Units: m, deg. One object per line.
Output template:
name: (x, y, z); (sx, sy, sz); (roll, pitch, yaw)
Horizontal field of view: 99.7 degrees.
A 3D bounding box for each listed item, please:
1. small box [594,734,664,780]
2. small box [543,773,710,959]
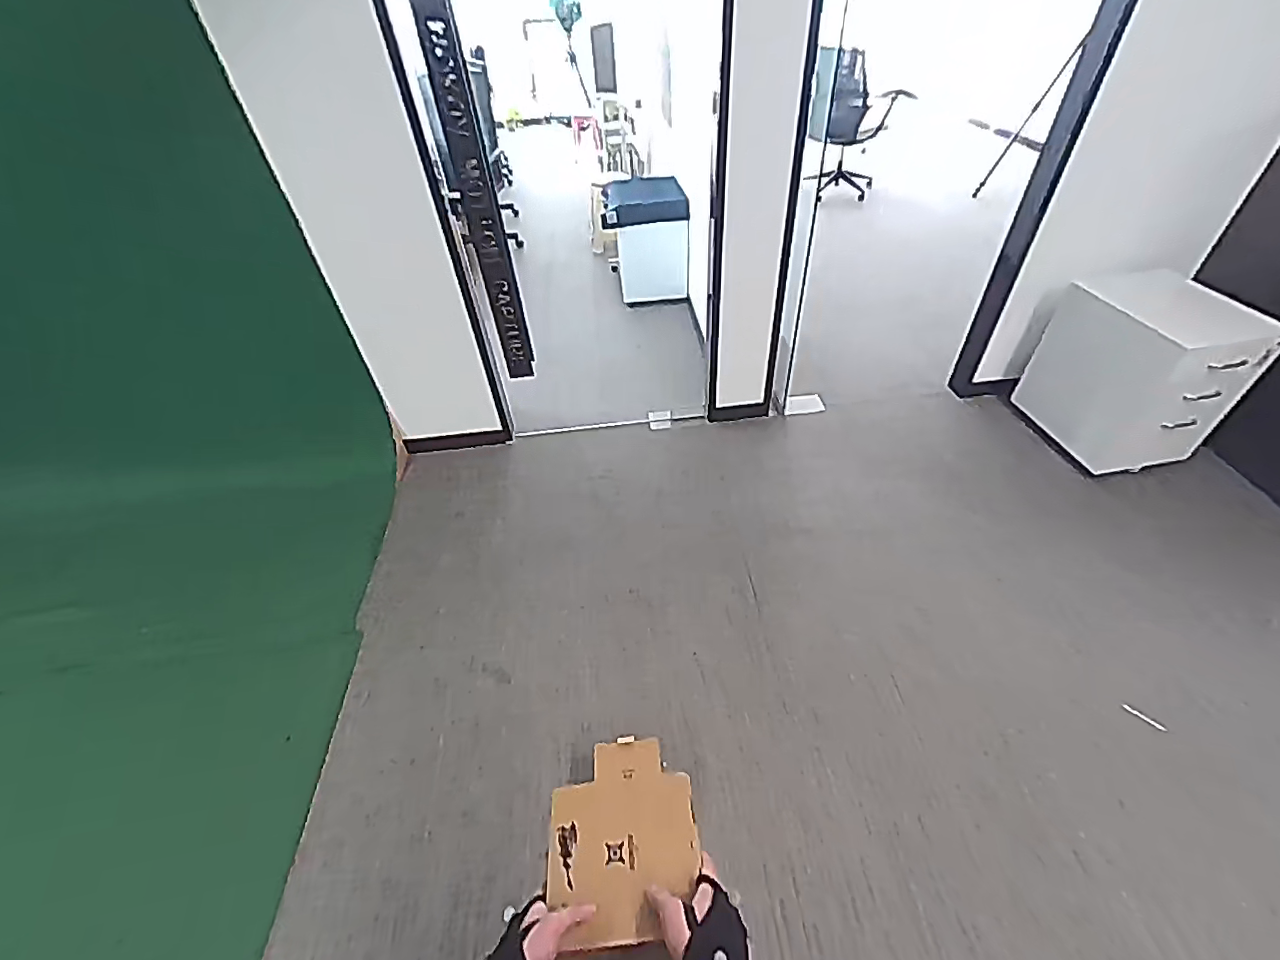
small box: (-0.024, 0.763, 1.357); (0.168, 0.176, 0.179); (-6, 44, 2)
small box: (-0.012, 0.491, 0.669); (0.179, 0.176, 0.168); (-7, 36, 0)
